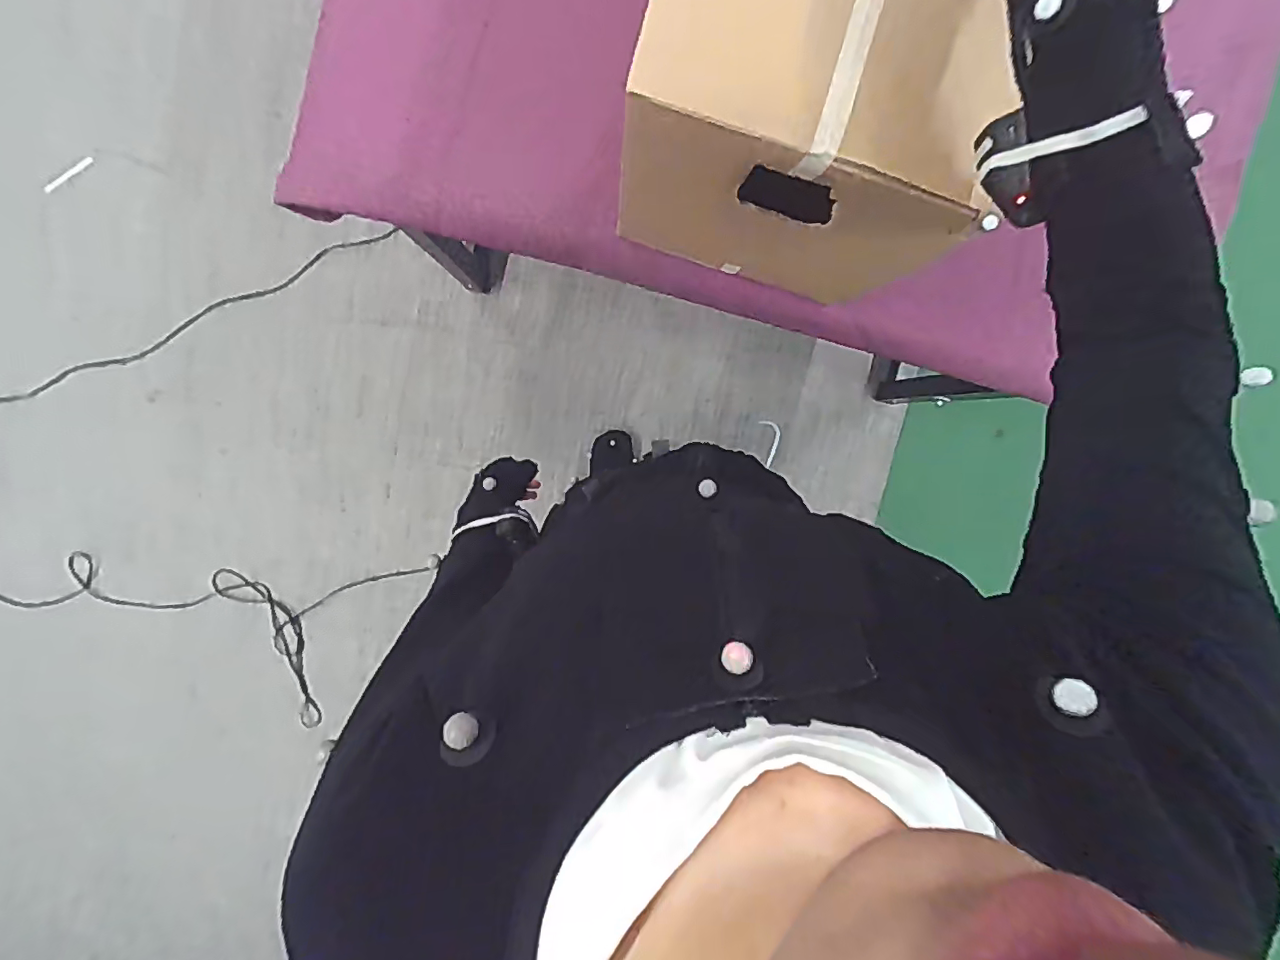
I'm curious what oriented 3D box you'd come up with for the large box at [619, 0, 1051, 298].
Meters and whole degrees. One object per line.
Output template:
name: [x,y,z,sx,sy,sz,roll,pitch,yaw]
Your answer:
large box: [0.180,-0.461,0.566,0.320,0.320,0.408,16,95,-5]
